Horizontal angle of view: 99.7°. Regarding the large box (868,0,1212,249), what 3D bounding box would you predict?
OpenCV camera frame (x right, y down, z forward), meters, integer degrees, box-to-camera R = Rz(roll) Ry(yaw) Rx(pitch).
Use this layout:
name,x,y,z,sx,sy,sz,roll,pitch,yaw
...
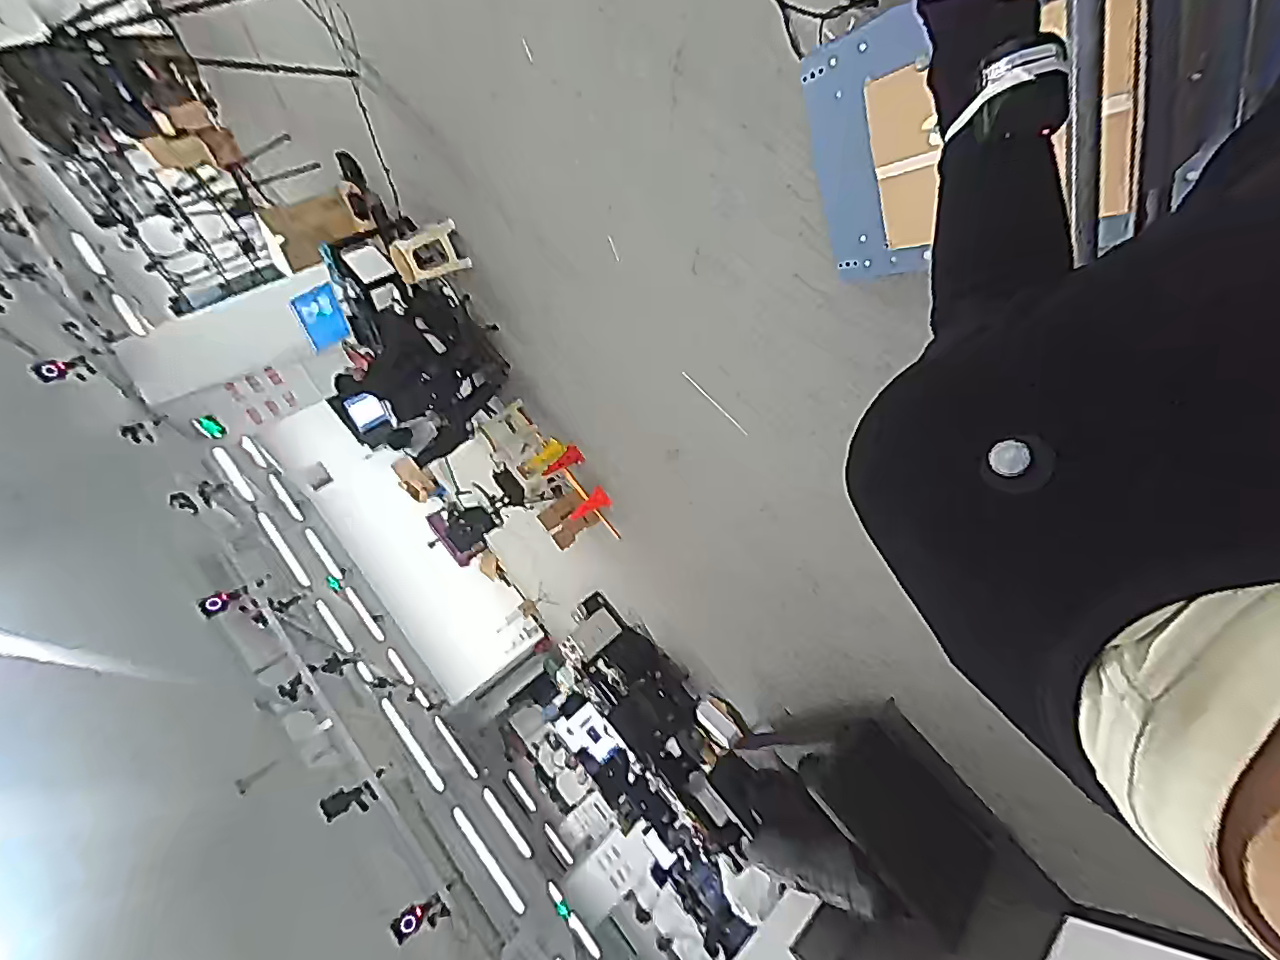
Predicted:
name,x,y,z,sx,sy,sz,roll,pitch,yaw
large box,0.705,-0.661,0.978,0.408,0.320,0.320,19,138,54
